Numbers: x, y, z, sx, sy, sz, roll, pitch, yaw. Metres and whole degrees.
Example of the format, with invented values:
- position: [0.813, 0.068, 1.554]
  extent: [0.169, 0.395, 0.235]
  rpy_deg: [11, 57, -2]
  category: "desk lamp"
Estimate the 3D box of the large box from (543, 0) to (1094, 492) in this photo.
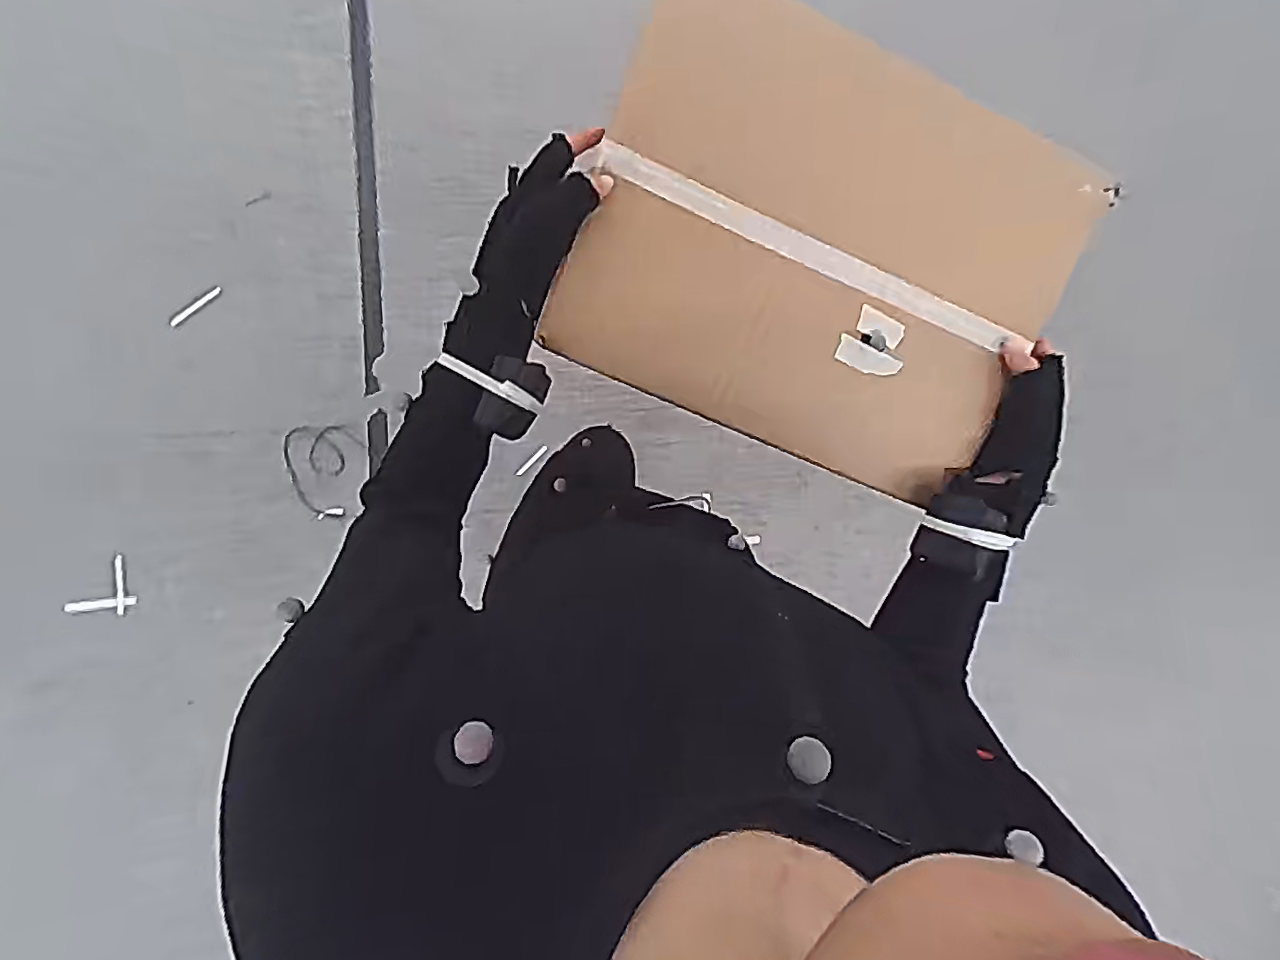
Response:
- position: [0.141, -0.225, 0.606]
  extent: [0.408, 0.320, 0.320]
  rpy_deg: [22, 101, -8]
  category: "large box"
